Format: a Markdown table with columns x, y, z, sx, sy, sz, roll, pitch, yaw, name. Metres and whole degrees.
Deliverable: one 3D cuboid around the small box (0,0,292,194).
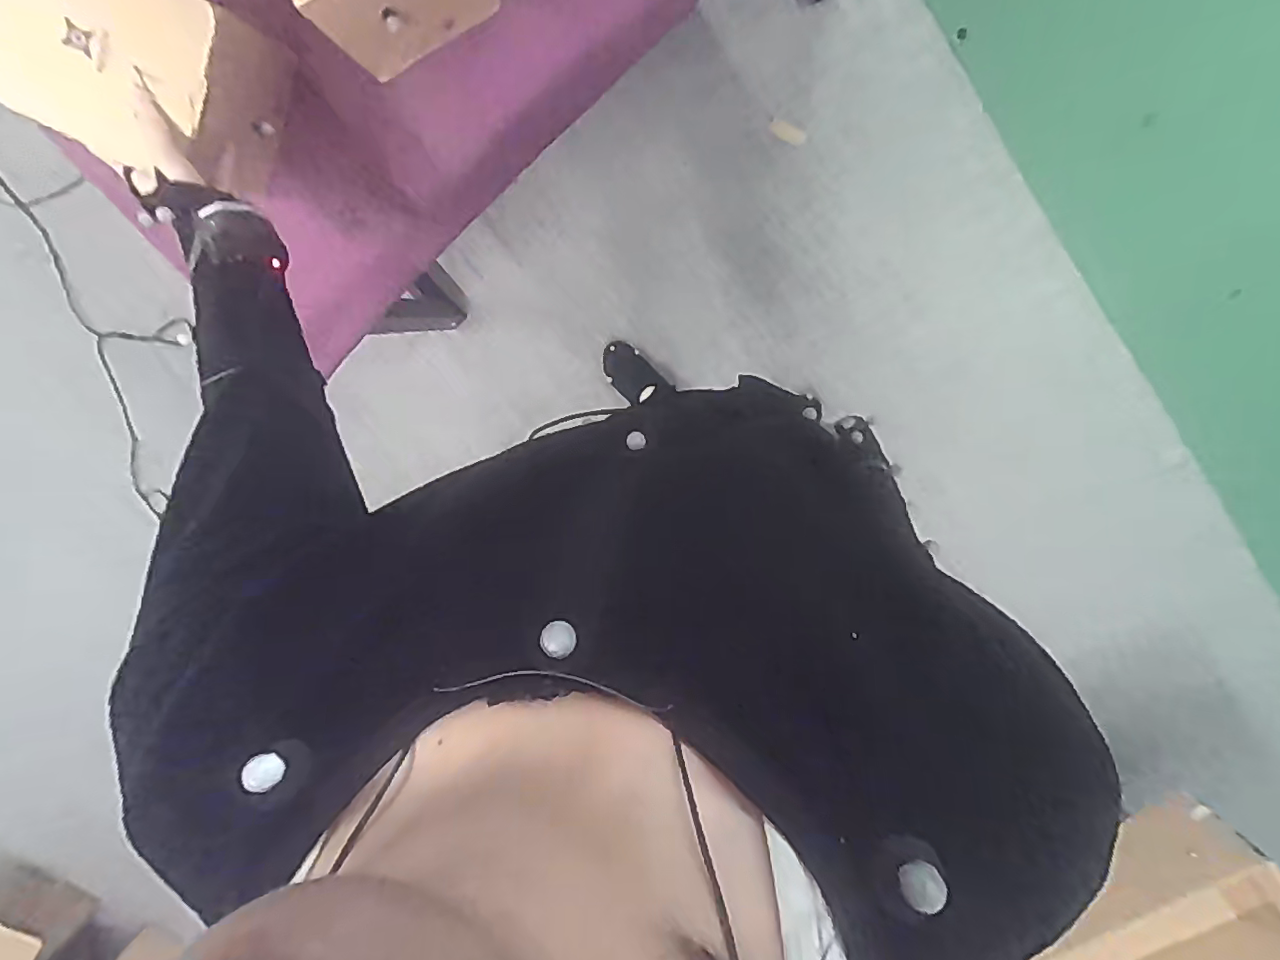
| x | y | z | sx | sy | sz | roll | pitch | yaw | name |
| --- | --- | --- | --- | --- | --- | --- | --- | --- | --- |
| -0.496 | -0.408 | 0.541 | 0.179 | 0.176 | 0.168 | 26 | 110 | -20 | small box |
